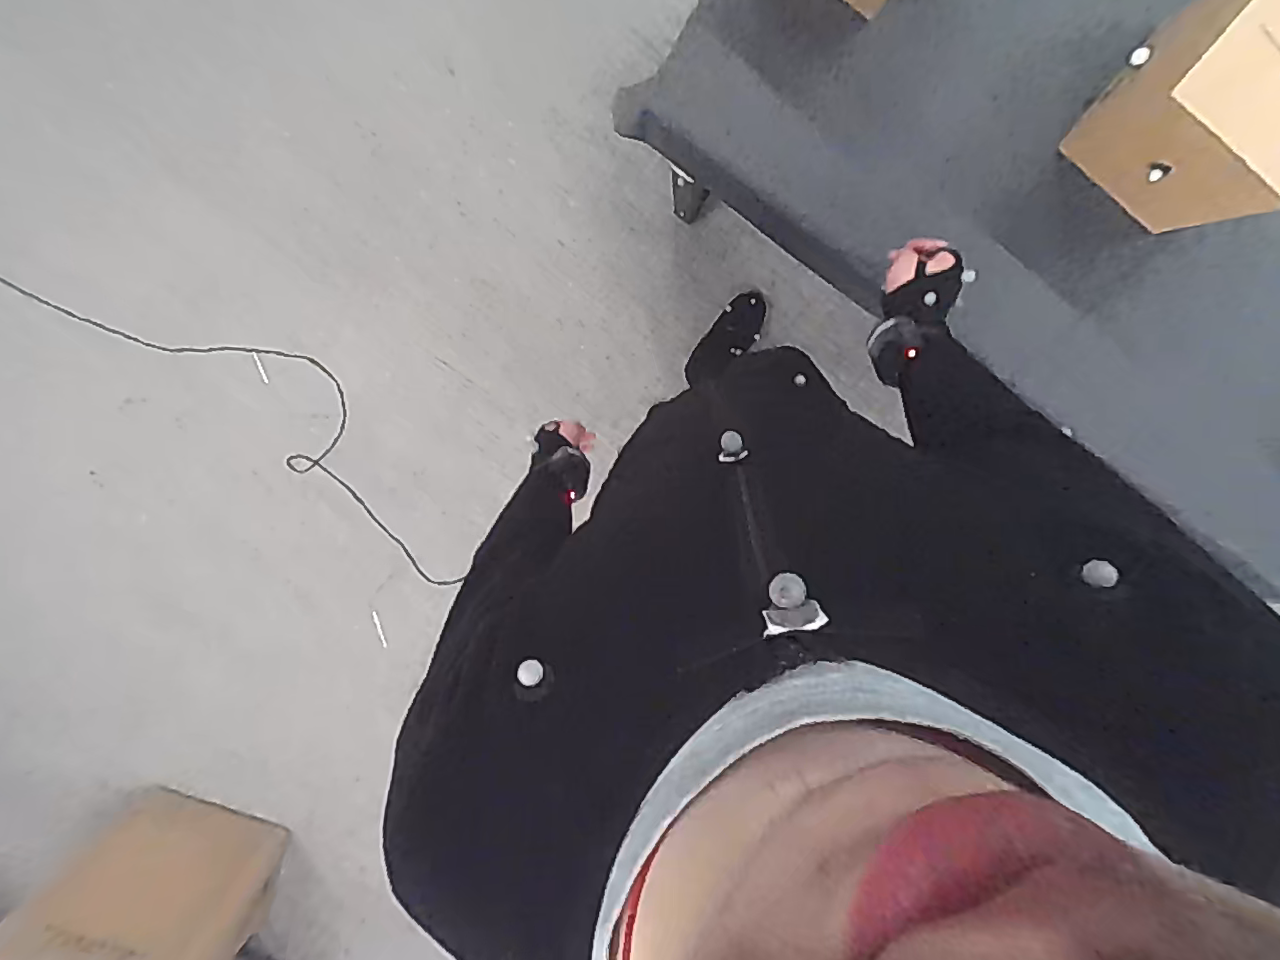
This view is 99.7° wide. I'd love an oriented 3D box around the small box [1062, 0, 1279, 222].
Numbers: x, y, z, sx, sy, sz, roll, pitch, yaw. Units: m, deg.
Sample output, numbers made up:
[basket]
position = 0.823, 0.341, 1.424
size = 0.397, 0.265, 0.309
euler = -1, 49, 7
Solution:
[small box]
position = 0.633, -0.409, 0.589
size = 0.179, 0.176, 0.168
euler = 36, 104, -7
